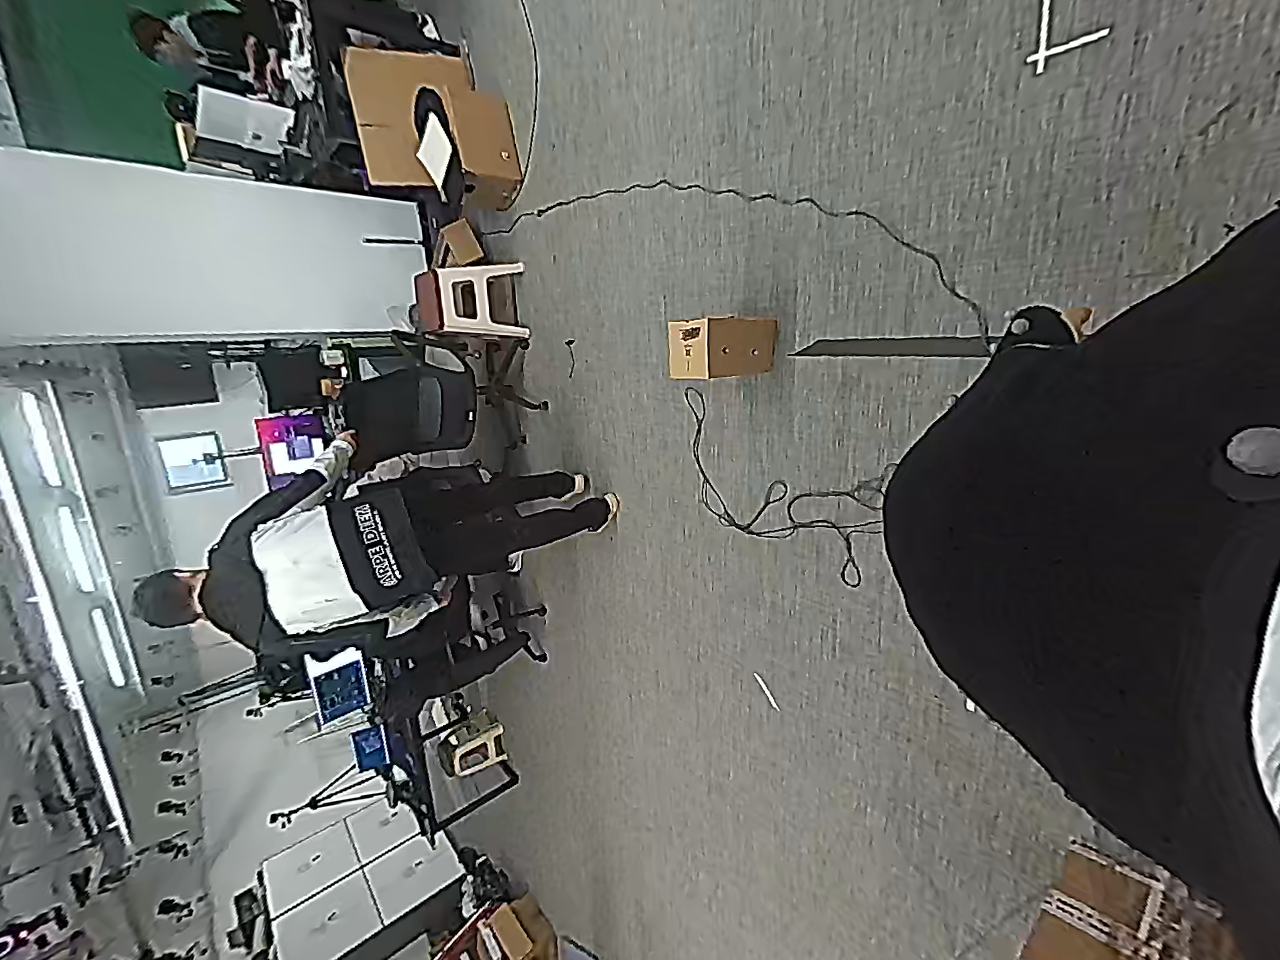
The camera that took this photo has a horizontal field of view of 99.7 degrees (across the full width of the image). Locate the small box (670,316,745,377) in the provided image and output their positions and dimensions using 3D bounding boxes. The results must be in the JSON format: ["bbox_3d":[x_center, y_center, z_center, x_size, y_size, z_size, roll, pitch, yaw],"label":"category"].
[{"bbox_3d":[0.210,-0.414,1.675,0.168,0.176,0.179,14,112,48],"label":"small box"}]

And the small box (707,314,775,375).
[{"bbox_3d":[0.328,-0.452,1.785,0.168,0.176,0.179,23,119,45],"label":"small box"}]
